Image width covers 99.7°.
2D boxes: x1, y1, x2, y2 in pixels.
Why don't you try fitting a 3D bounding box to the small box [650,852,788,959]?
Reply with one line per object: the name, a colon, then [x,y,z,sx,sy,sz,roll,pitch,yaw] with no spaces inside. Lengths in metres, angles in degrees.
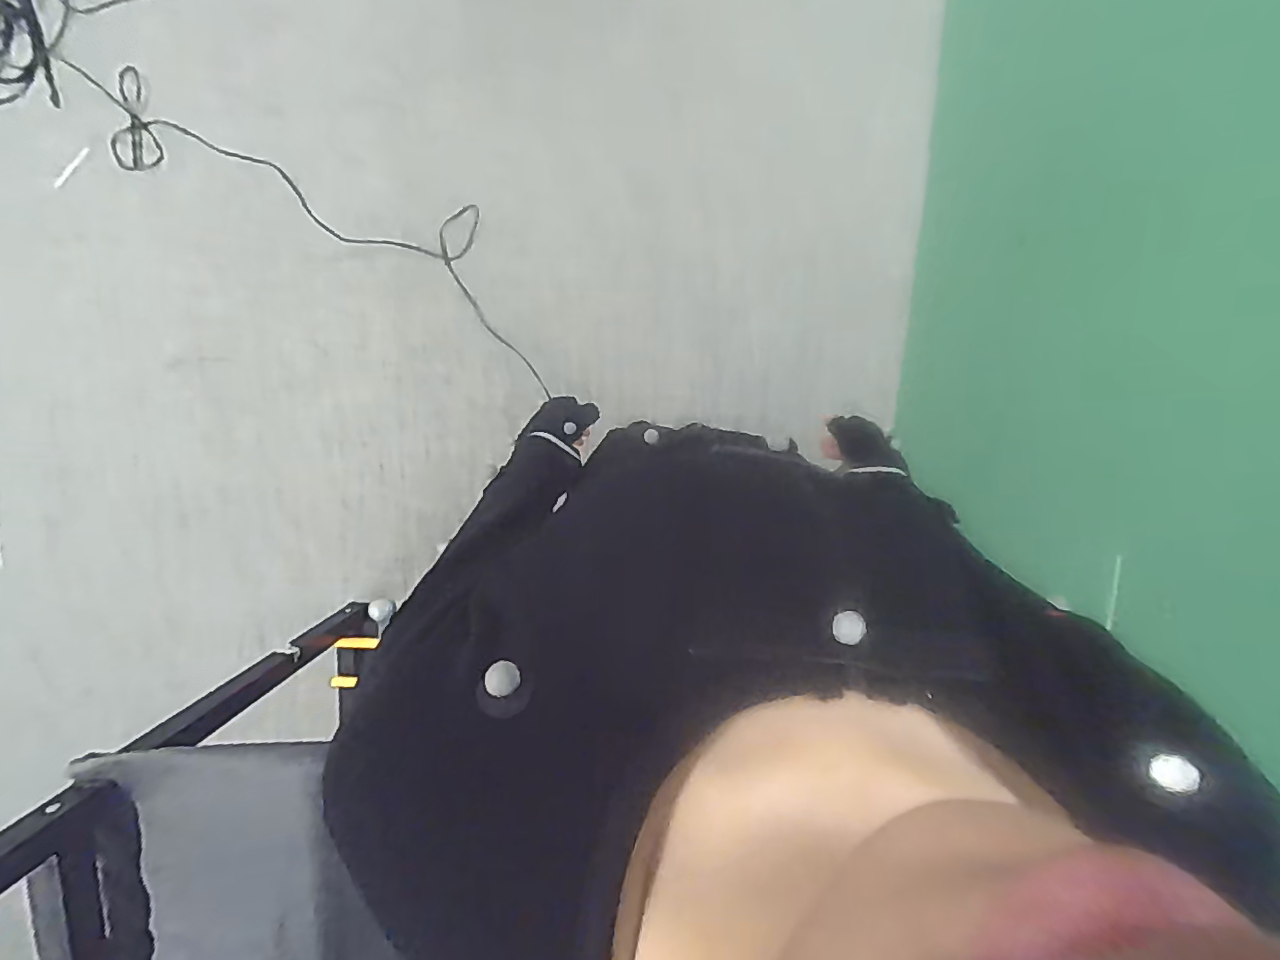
small box: [0.098,0.655,0.747,0.168,0.176,0.179,1,98,1]
